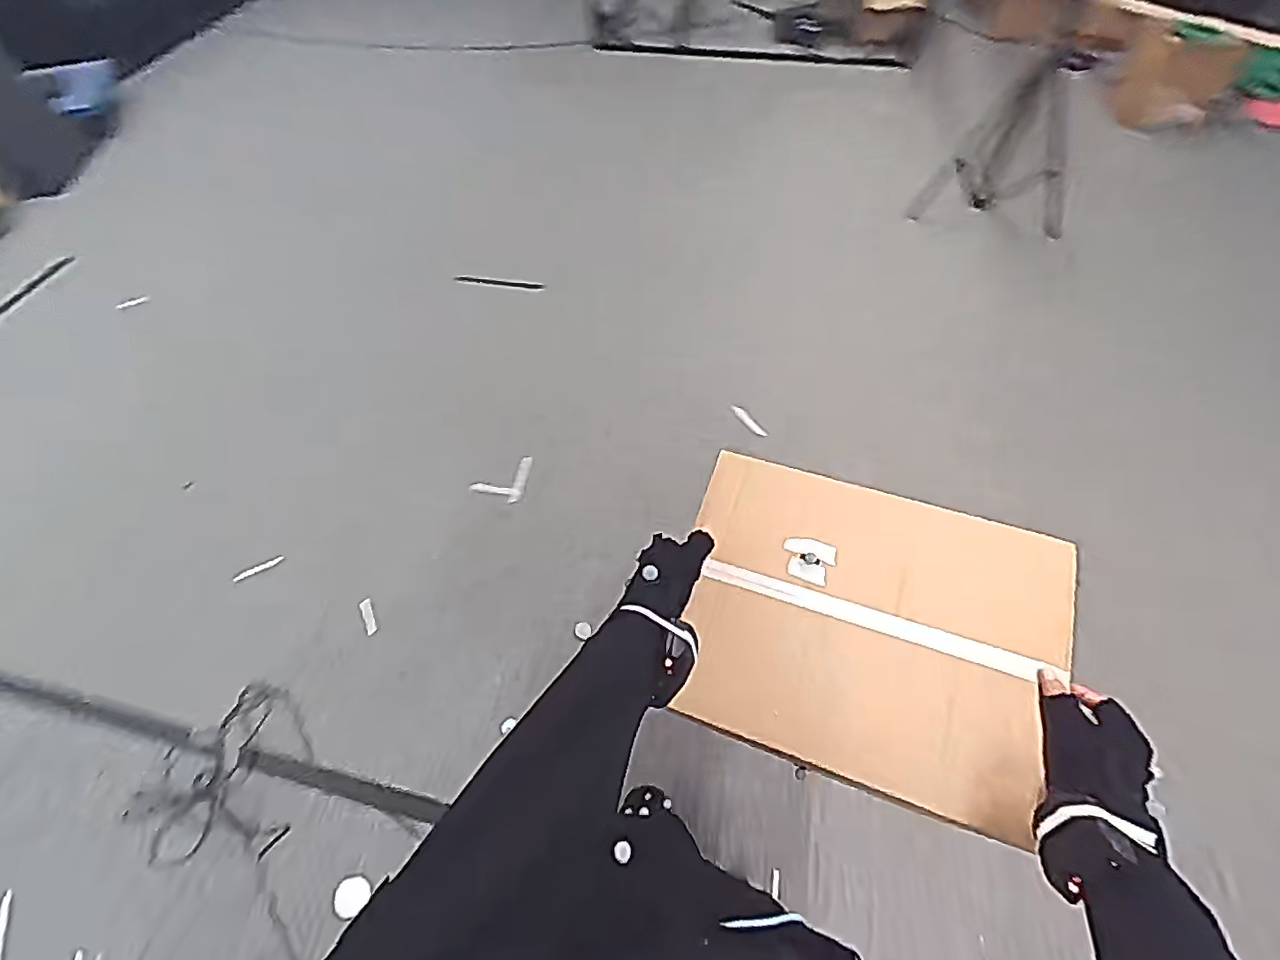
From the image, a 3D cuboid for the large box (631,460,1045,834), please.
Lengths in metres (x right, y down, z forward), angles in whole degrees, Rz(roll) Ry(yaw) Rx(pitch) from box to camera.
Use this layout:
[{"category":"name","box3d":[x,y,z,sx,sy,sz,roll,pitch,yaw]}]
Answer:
[{"category":"large box","box3d":[0.244,0.214,0.731,0.408,0.320,0.320,14,66,15]}]
